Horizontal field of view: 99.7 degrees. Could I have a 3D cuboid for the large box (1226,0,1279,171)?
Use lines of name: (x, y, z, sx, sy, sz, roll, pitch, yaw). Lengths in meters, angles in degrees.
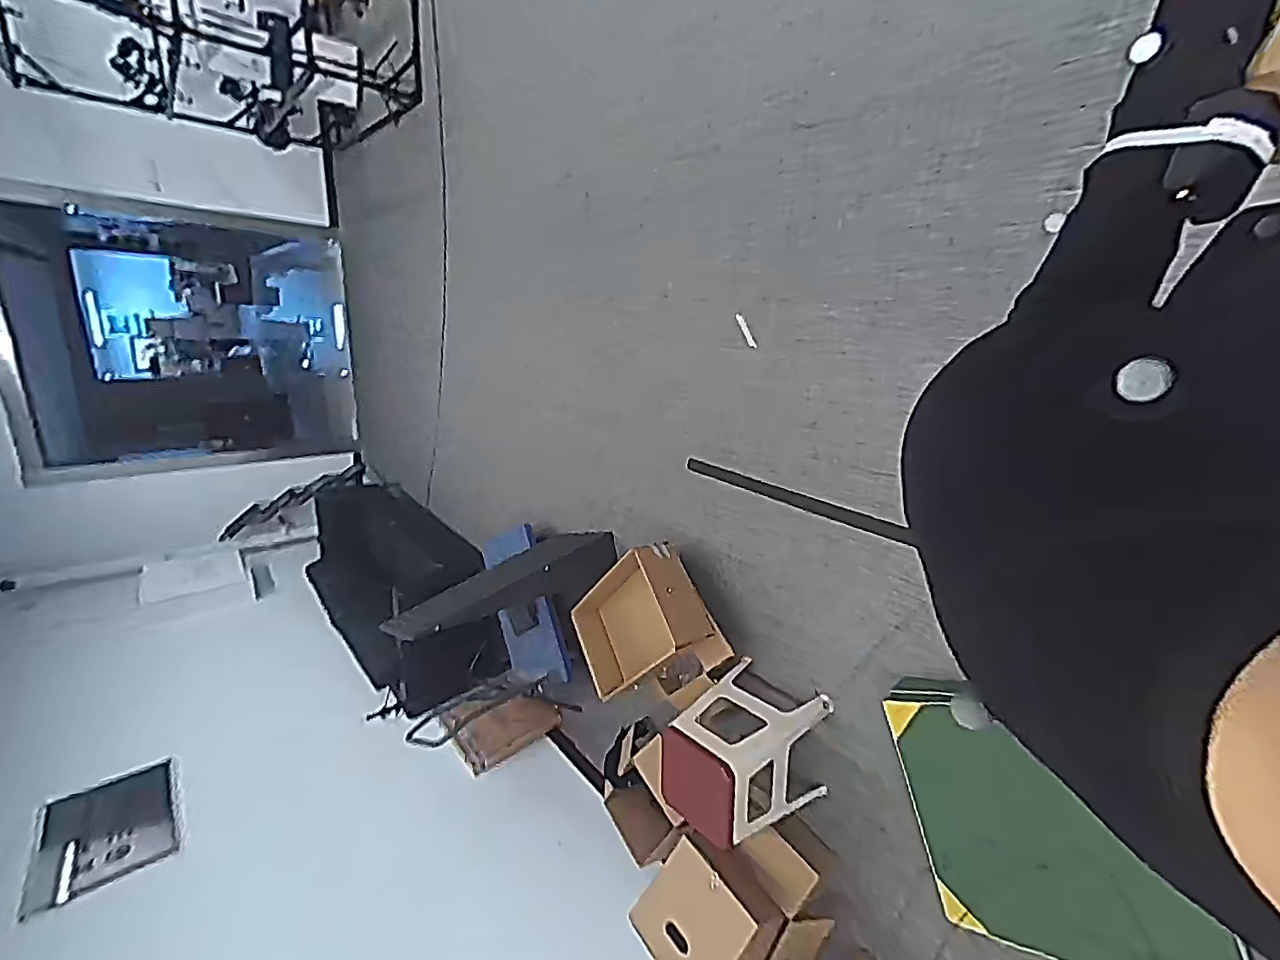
large box: (0.672, -0.361, 0.295, 0.408, 0.320, 0.320, 28, 127, 39)
